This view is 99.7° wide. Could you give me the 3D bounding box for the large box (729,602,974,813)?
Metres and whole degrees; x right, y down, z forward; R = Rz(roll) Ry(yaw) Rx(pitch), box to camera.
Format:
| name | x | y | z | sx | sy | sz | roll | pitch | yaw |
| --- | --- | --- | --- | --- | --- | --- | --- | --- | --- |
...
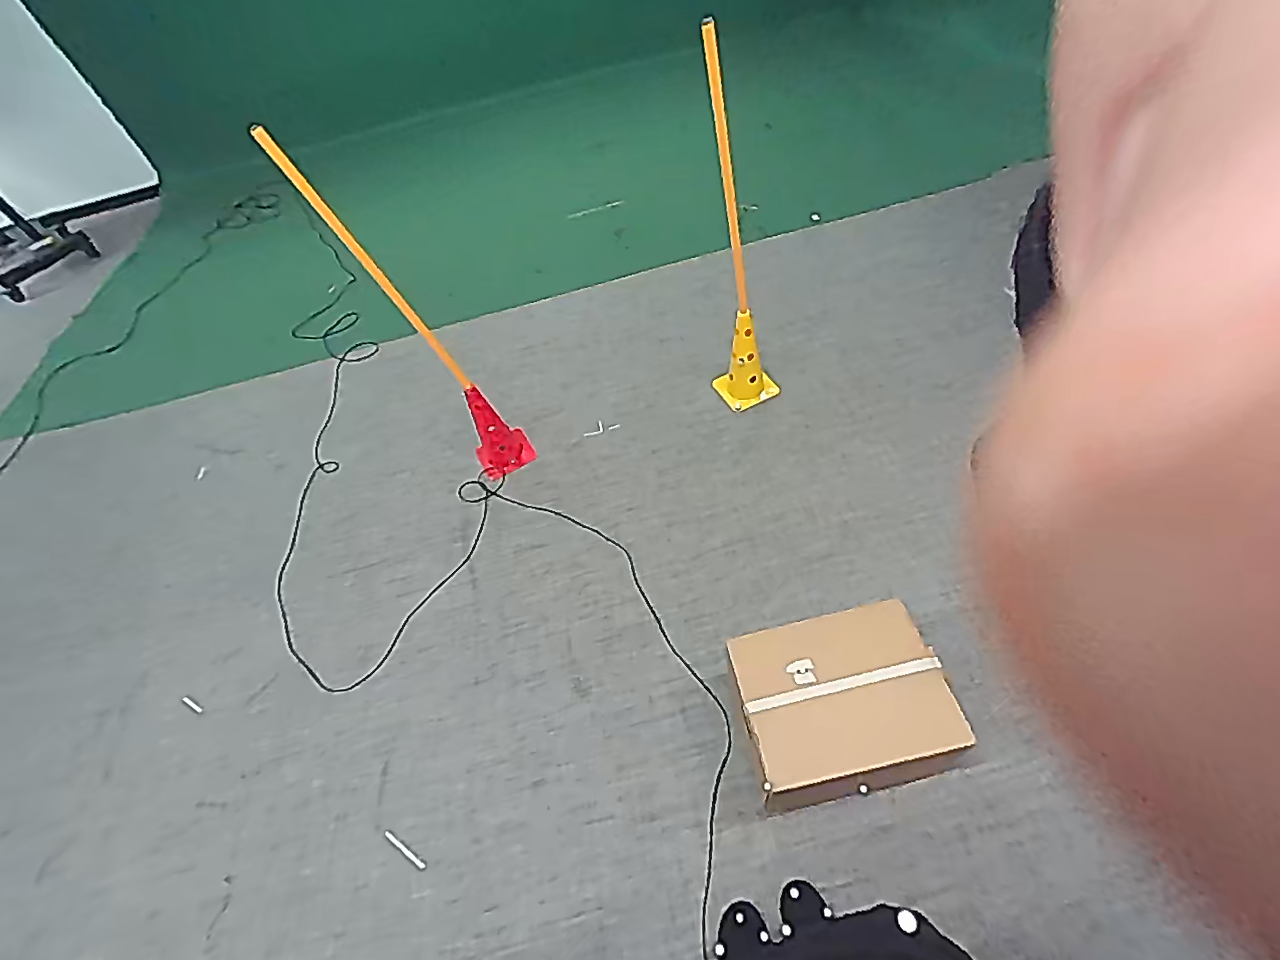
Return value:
| name | x | y | z | sx | sy | sz | roll | pitch | yaw |
| --- | --- | --- | --- | --- | --- | --- | --- | --- | --- |
| large box | 0.445 | 0.527 | 1.237 | 0.408 | 0.320 | 0.320 | -15 | 50 | 1 |
